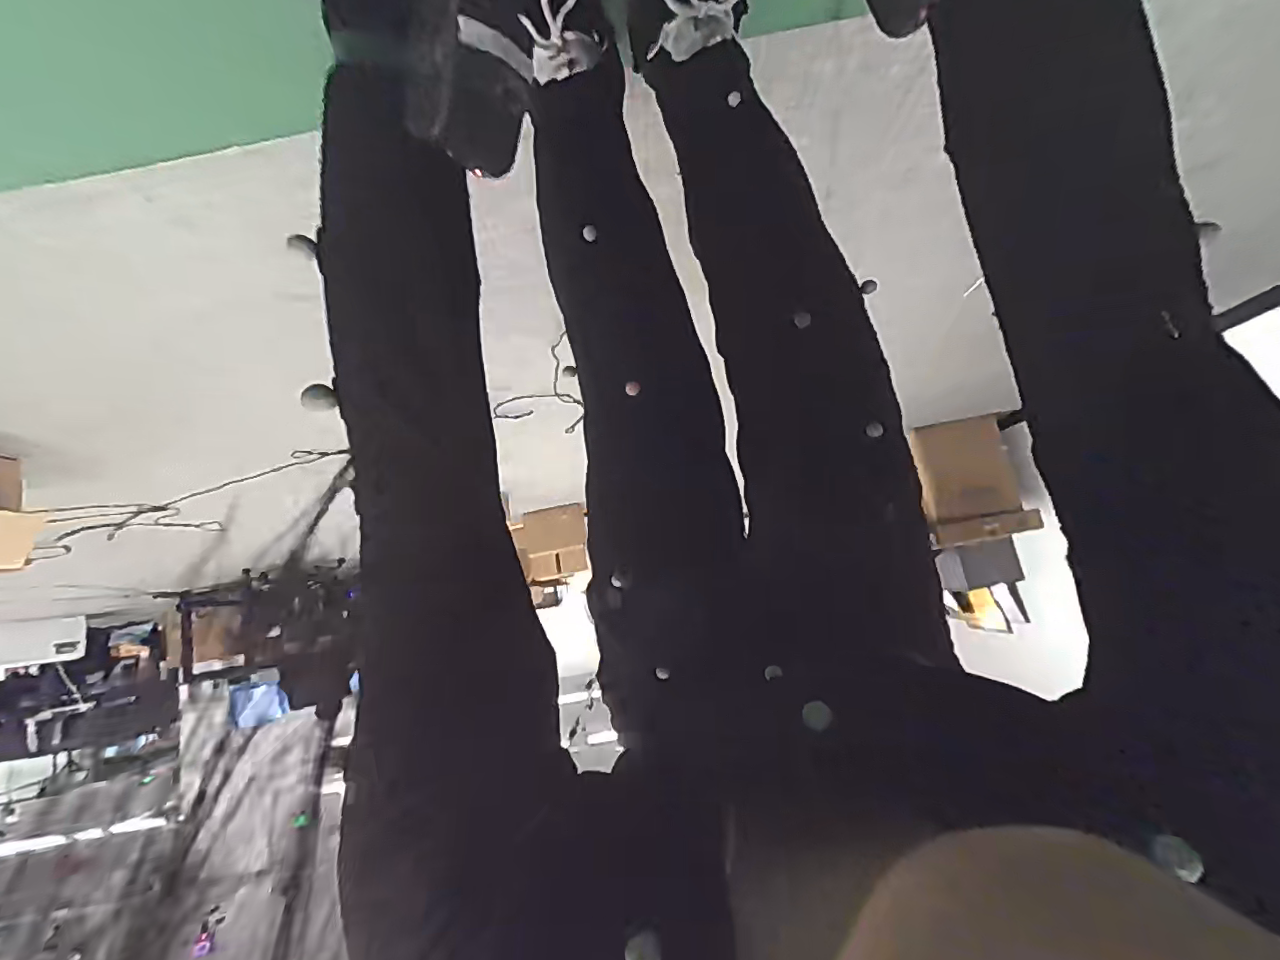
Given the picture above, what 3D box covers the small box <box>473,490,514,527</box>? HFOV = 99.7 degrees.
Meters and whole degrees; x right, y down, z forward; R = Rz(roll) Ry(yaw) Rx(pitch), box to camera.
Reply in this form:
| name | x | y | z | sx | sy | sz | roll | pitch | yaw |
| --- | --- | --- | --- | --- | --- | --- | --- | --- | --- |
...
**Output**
| name | x | y | z | sx | sy | sz | roll | pitch | yaw |
| --- | --- | --- | --- | --- | --- | --- | --- | --- | --- |
| small box | -0.832 | 0.161 | 3.057 | 0.179 | 0.176 | 0.168 | -12 | 169 | 2 |
